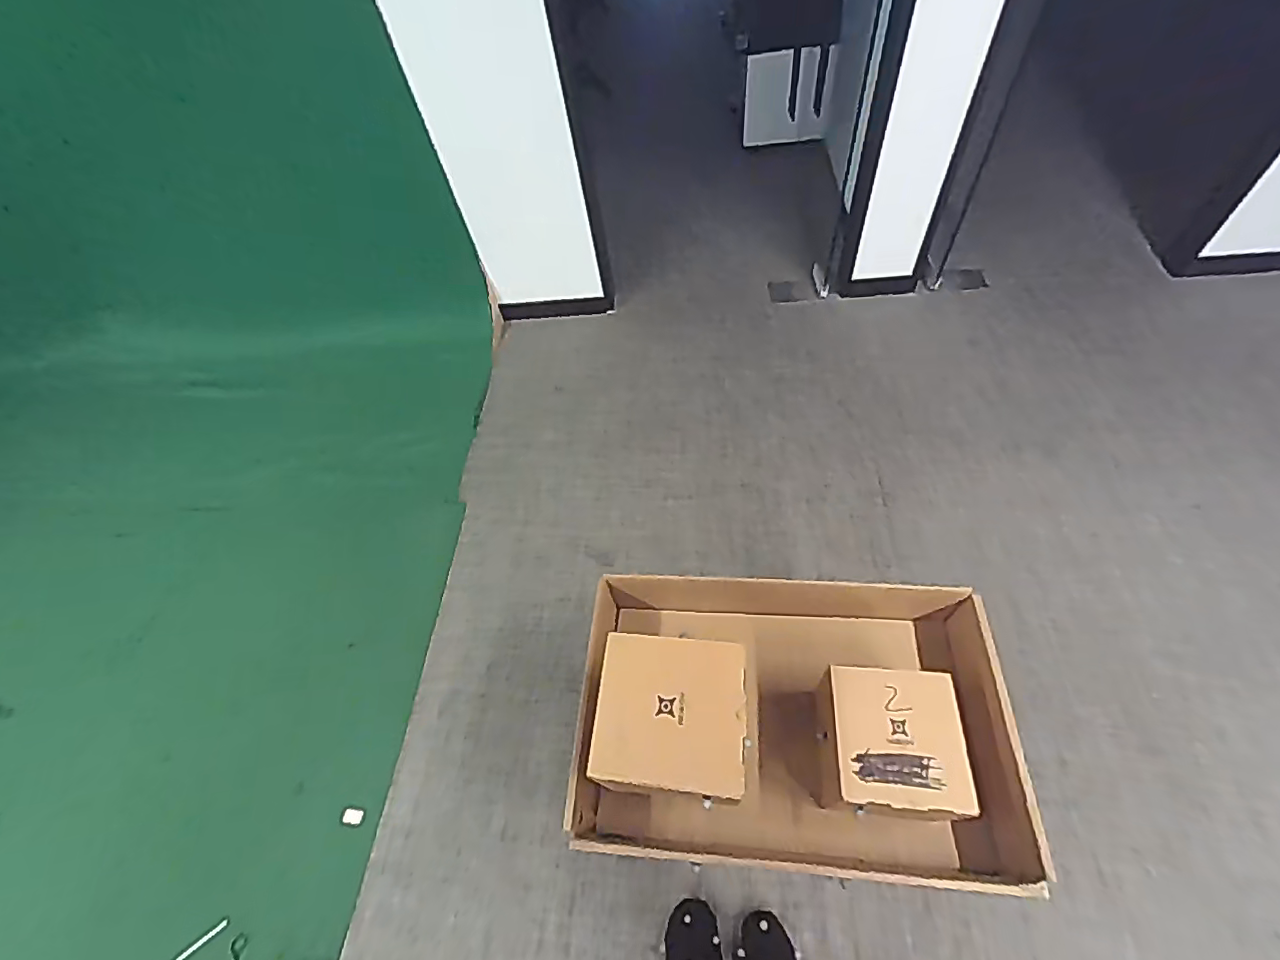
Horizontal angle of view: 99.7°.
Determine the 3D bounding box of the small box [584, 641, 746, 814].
[{"bbox_3d":[0.042,0.319,0.691,0.179,0.176,0.168,3,56,9],"label":"small box"}]
